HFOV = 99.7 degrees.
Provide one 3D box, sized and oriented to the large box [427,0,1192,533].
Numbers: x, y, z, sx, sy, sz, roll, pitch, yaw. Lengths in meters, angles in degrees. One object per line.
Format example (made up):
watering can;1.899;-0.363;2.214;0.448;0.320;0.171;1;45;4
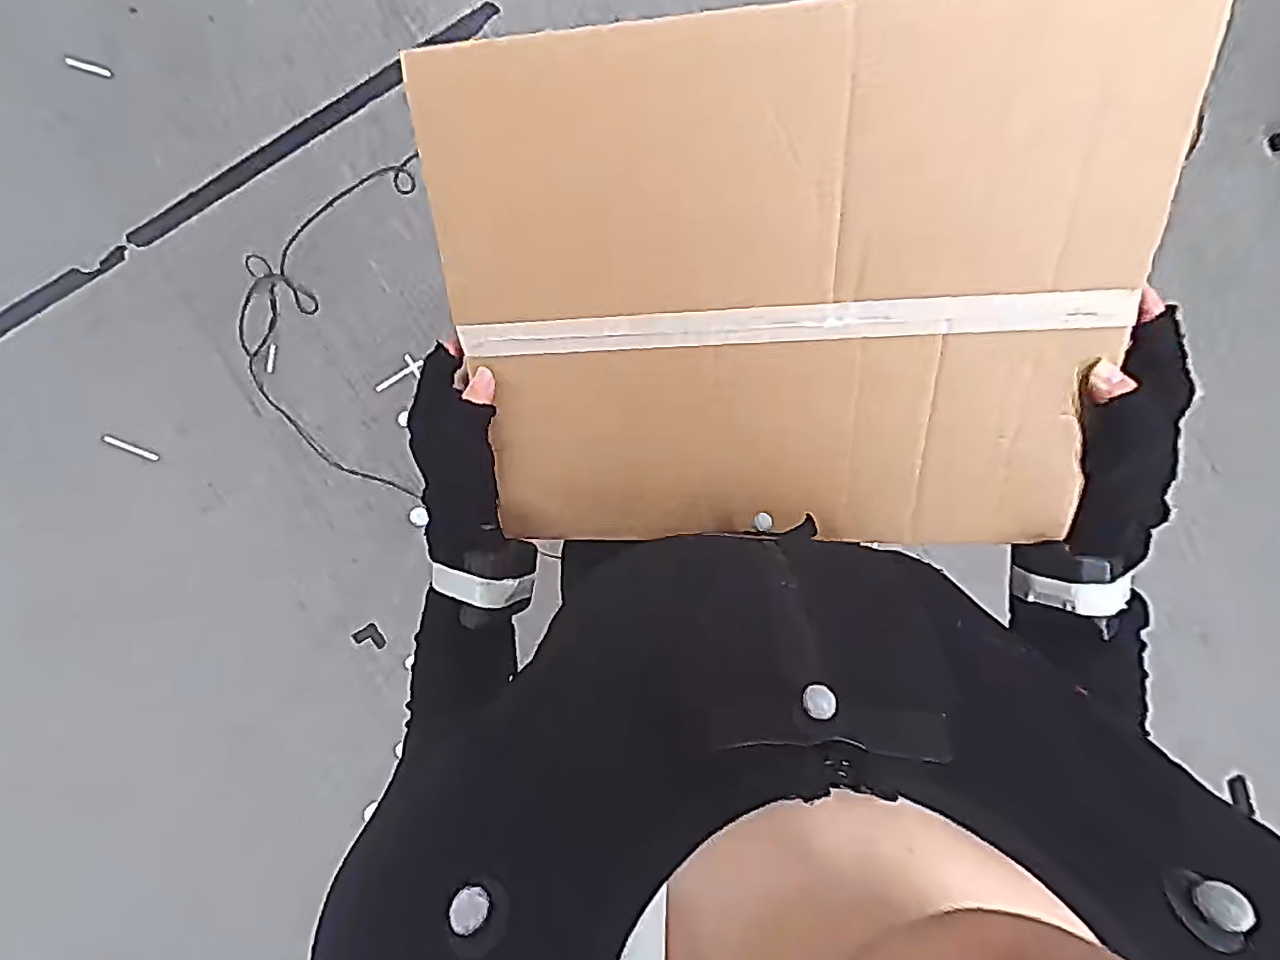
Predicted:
large box;0.098;-0.163;0.482;0.408;0.320;0.320;-1;117;8
